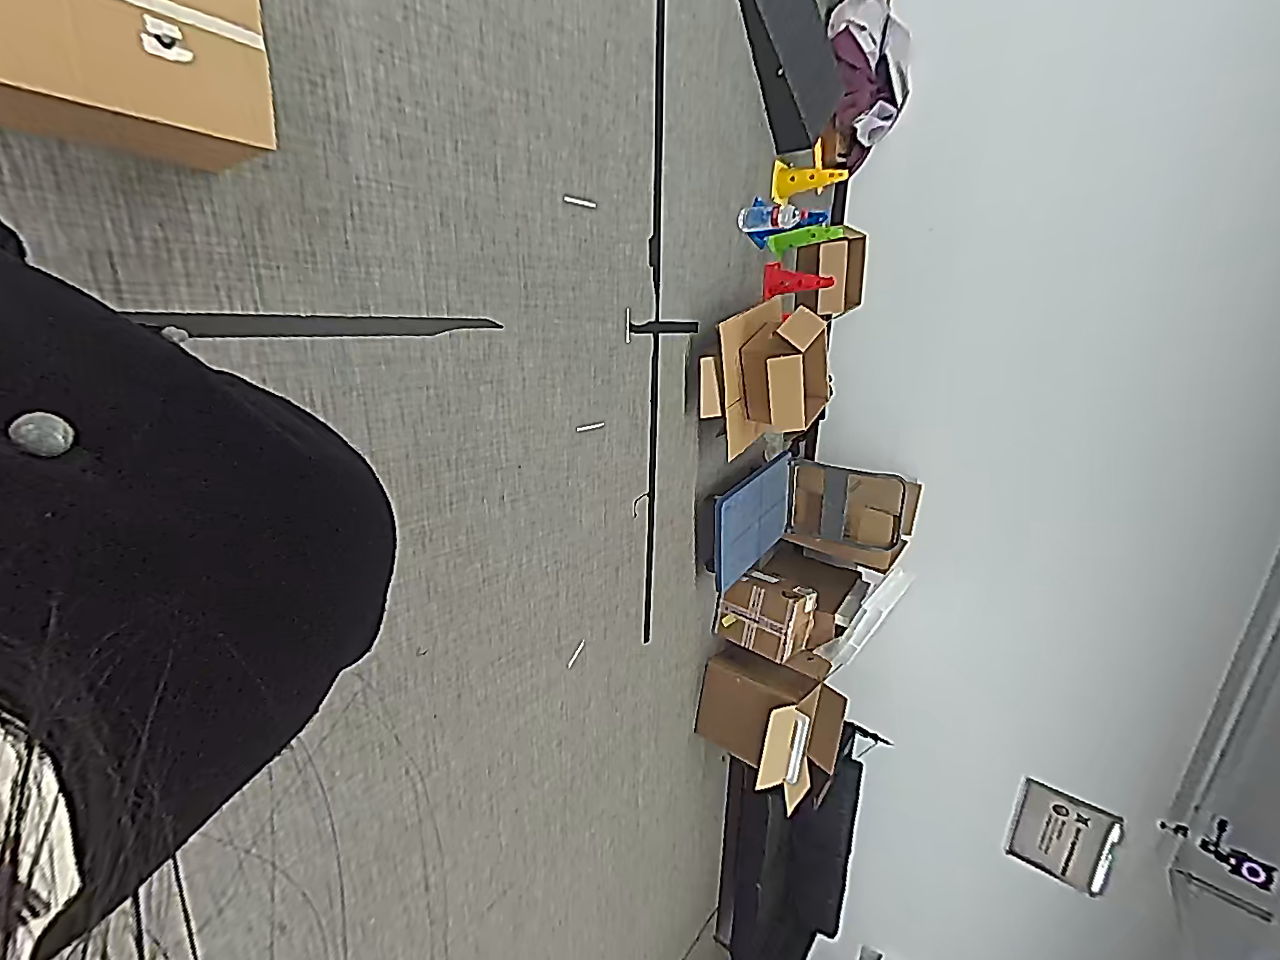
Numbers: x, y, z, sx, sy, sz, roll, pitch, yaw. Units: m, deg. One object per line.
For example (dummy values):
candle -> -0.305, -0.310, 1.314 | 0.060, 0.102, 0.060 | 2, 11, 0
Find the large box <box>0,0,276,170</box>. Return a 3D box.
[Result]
large box -> -0.868, -0.714, 0.836 | 0.408, 0.320, 0.320 | -17, 116, -51
